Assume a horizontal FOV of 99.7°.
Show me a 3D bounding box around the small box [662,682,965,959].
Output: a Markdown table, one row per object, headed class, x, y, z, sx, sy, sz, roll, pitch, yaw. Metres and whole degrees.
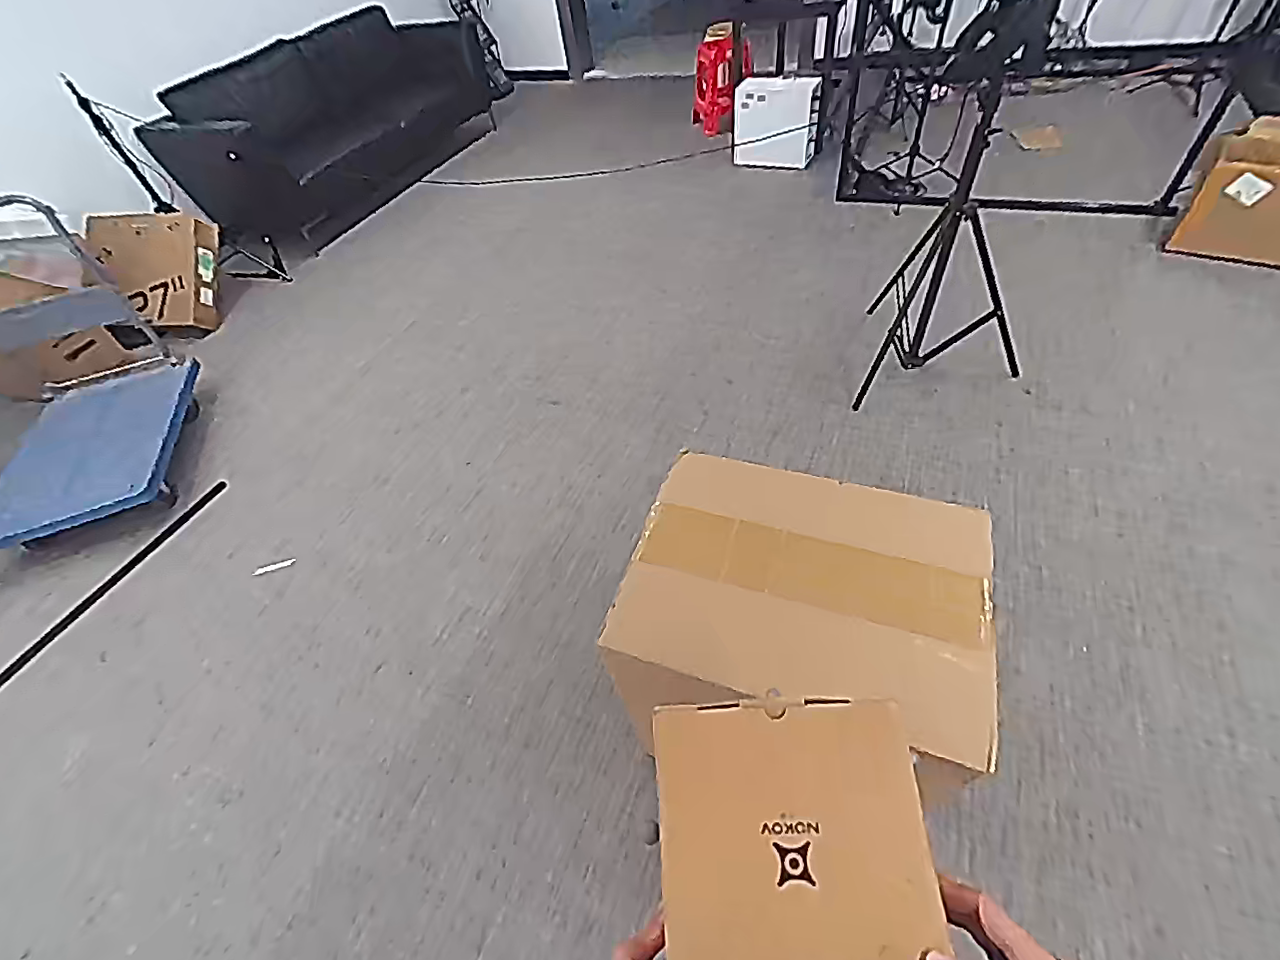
| class | x | y | z | sx | sy | sz | roll | pitch | yaw |
| --- | --- | --- | --- | --- | --- | --- | --- | --- | --- |
| small box | 0.108 | 0.252 | 0.404 | 0.168 | 0.176 | 0.179 | -5 | 65 | 5 |
